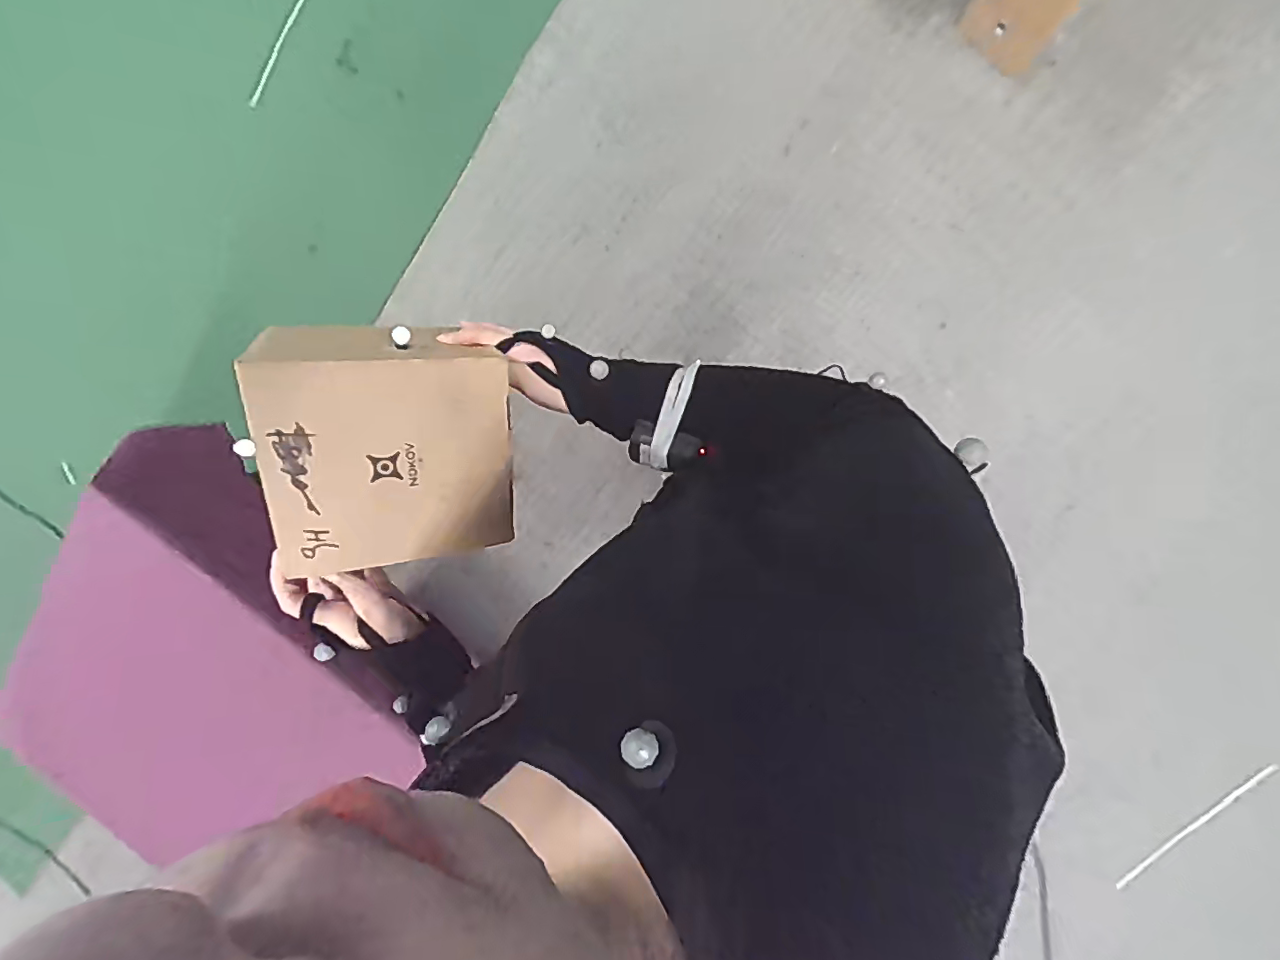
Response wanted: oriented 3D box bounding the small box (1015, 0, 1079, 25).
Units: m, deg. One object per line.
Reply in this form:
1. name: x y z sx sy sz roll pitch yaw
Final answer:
1. small box: 0.763 -0.969 0.950 0.179 0.176 0.168 43 103 3
